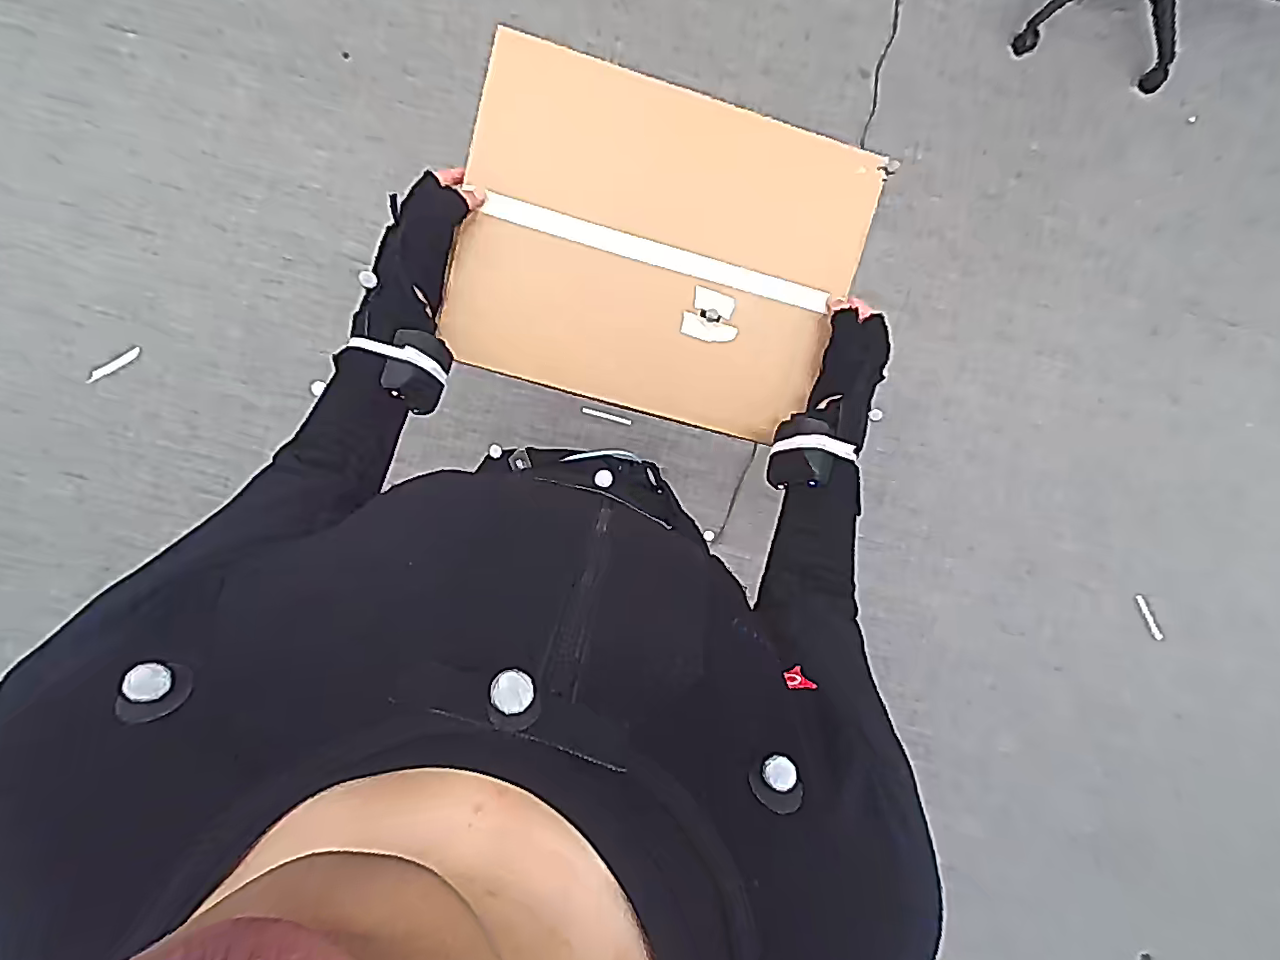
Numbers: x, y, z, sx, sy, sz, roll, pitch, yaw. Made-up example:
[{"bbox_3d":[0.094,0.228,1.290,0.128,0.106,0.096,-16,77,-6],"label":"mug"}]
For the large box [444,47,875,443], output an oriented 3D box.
[{"bbox_3d":[0.008,-0.255,0.713,0.408,0.320,0.320,15,98,-7],"label":"large box"}]
